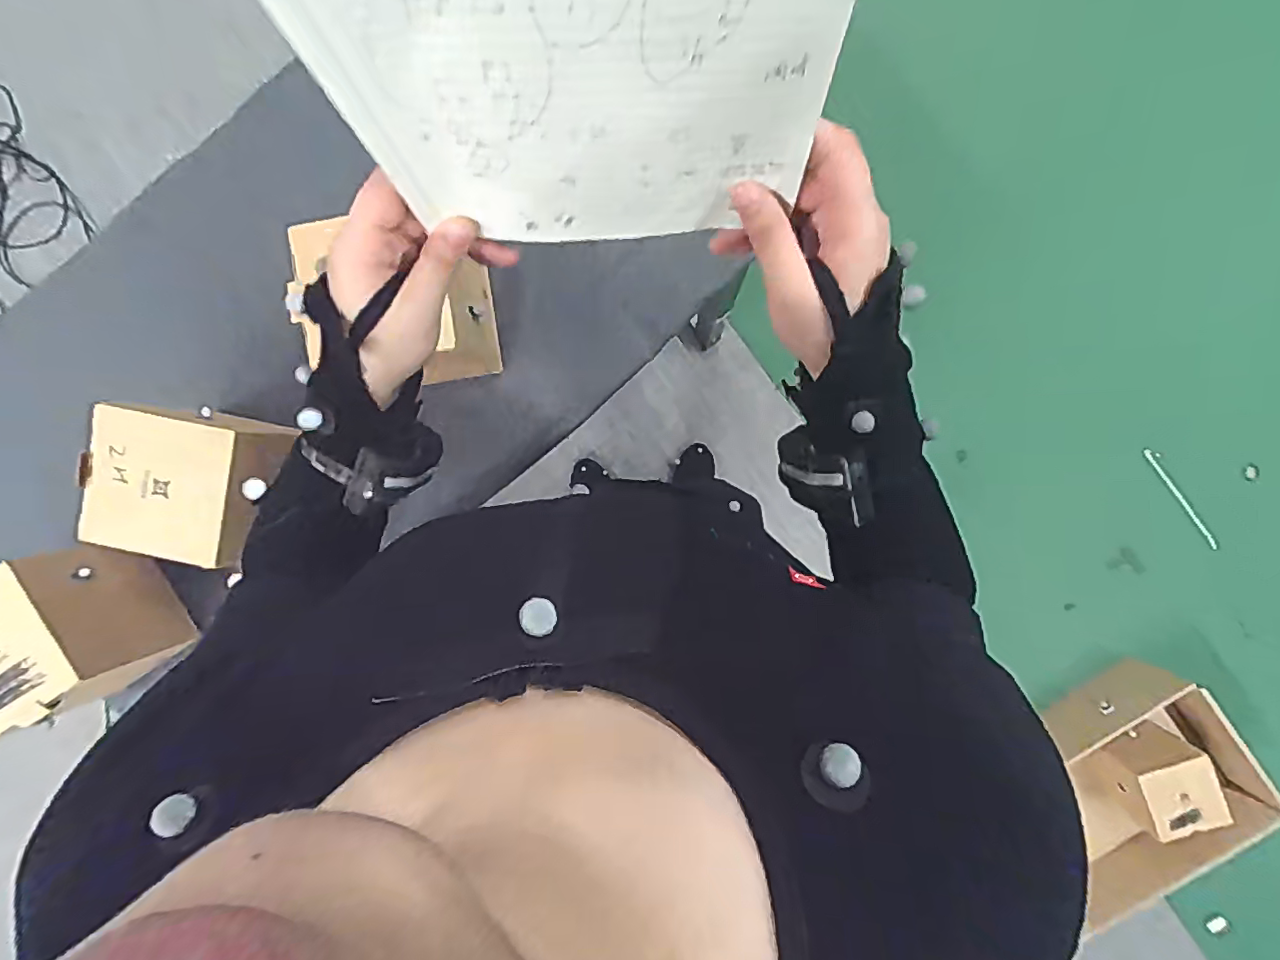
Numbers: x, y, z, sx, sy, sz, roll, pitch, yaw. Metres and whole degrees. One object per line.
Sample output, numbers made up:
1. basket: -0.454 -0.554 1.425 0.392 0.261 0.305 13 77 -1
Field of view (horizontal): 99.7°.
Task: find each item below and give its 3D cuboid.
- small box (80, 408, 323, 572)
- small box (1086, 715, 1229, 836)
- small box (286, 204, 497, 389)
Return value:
1. small box: -0.554 0.007 0.706 0.179 0.176 0.168 11 93 3
2. small box: 1.261 0.717 1.329 0.168 0.176 0.179 -21 93 5
3. small box: -0.291 -0.214 0.678 0.179 0.176 0.168 -9 92 5
